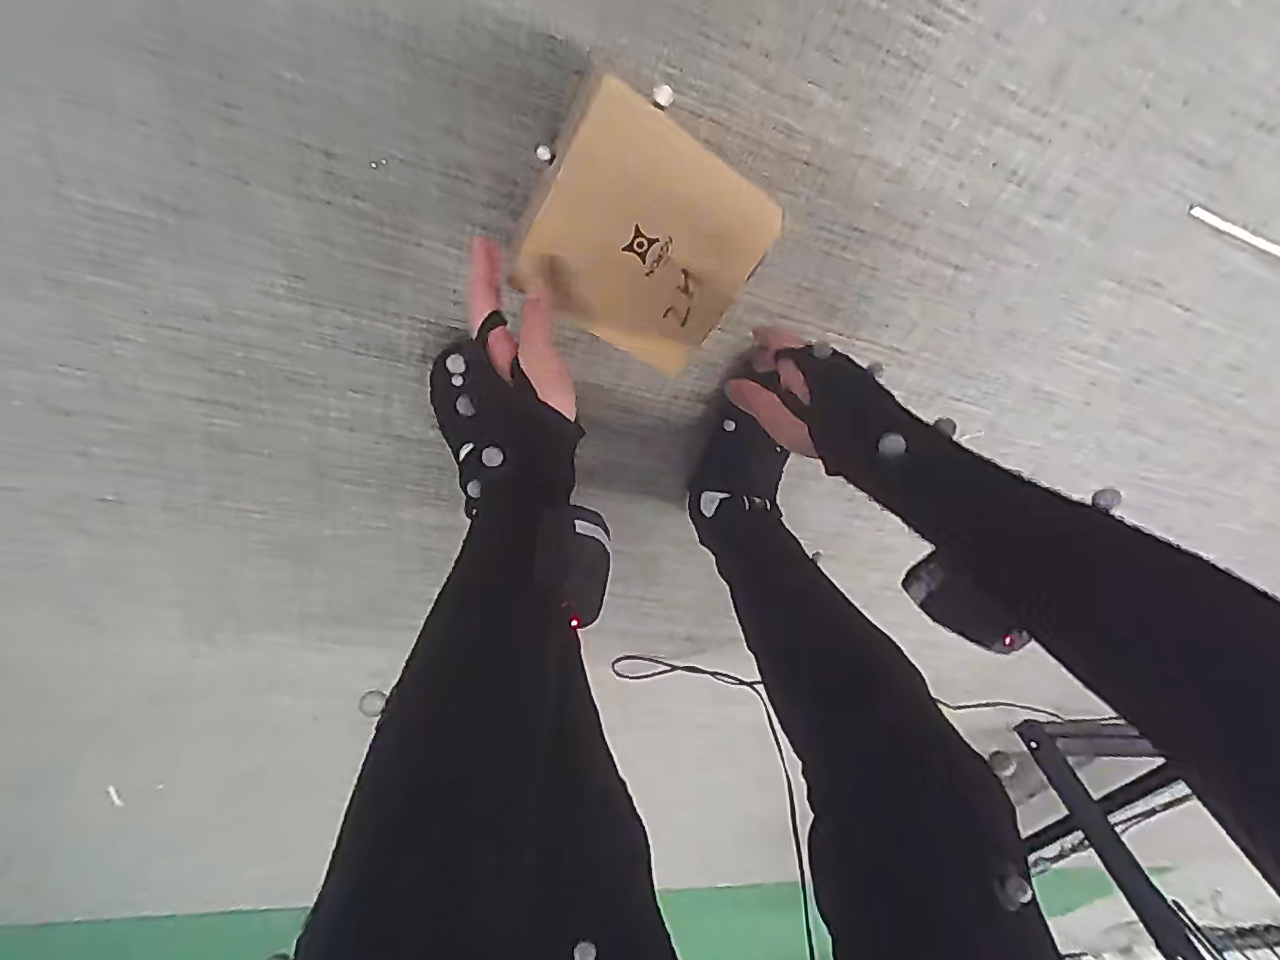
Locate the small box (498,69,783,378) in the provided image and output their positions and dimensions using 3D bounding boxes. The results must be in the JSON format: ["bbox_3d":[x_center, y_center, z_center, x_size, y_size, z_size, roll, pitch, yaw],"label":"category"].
[{"bbox_3d":[-0.008,-0.233,0.497,0.179,0.176,0.168,29,119,-28],"label":"small box"}]
